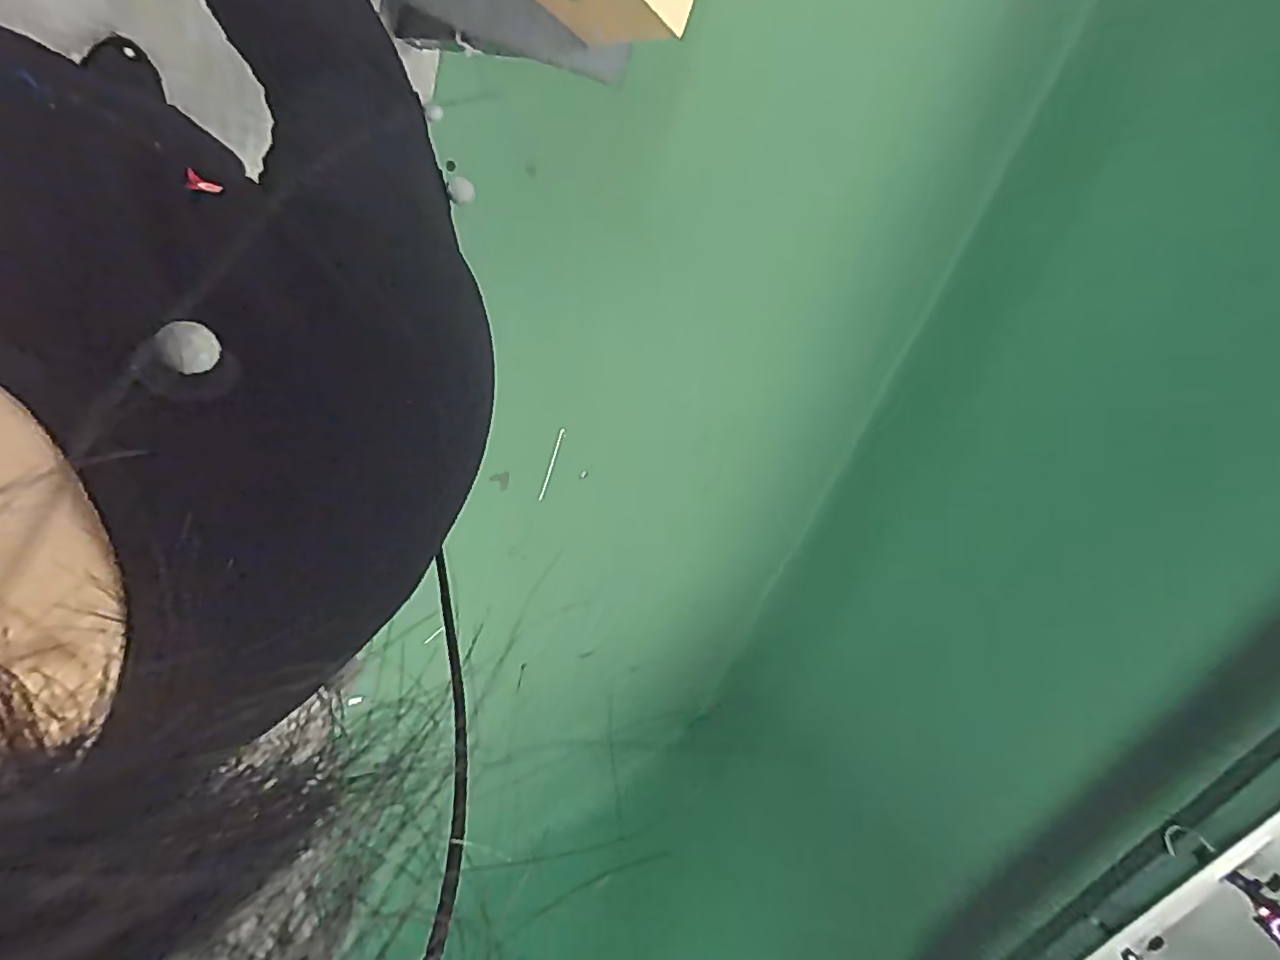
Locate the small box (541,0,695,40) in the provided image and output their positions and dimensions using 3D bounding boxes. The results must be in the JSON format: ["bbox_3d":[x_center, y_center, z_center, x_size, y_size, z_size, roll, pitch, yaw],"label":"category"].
[{"bbox_3d":[-0.037,-0.590,0.553,0.179,0.176,0.168,4,114,-47],"label":"small box"}]
